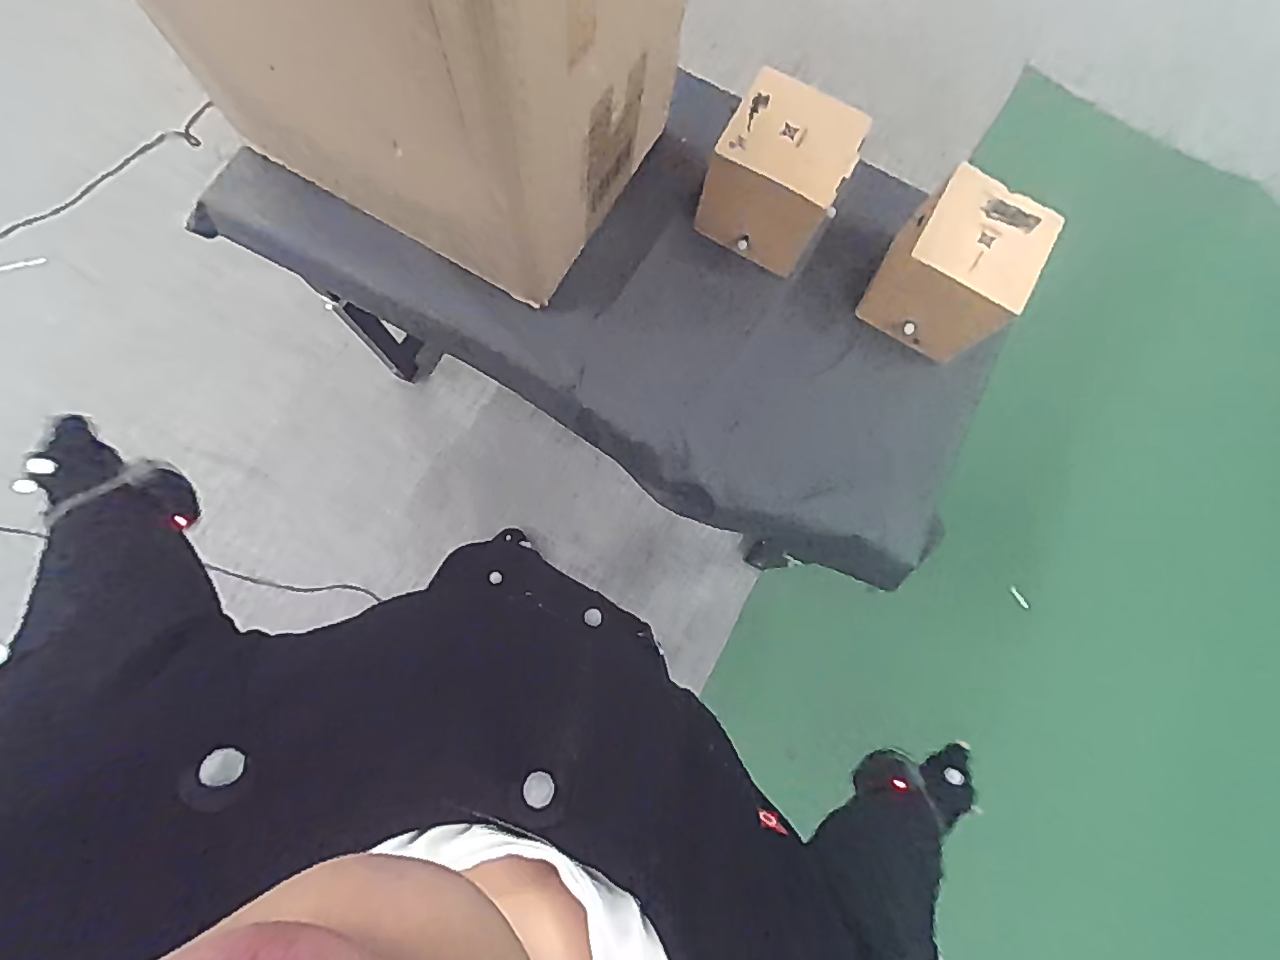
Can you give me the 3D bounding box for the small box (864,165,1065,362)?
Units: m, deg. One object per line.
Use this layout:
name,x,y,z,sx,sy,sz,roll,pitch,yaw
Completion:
small box,0.471,-0.312,0.812,0.168,0.176,0.179,31,79,2
